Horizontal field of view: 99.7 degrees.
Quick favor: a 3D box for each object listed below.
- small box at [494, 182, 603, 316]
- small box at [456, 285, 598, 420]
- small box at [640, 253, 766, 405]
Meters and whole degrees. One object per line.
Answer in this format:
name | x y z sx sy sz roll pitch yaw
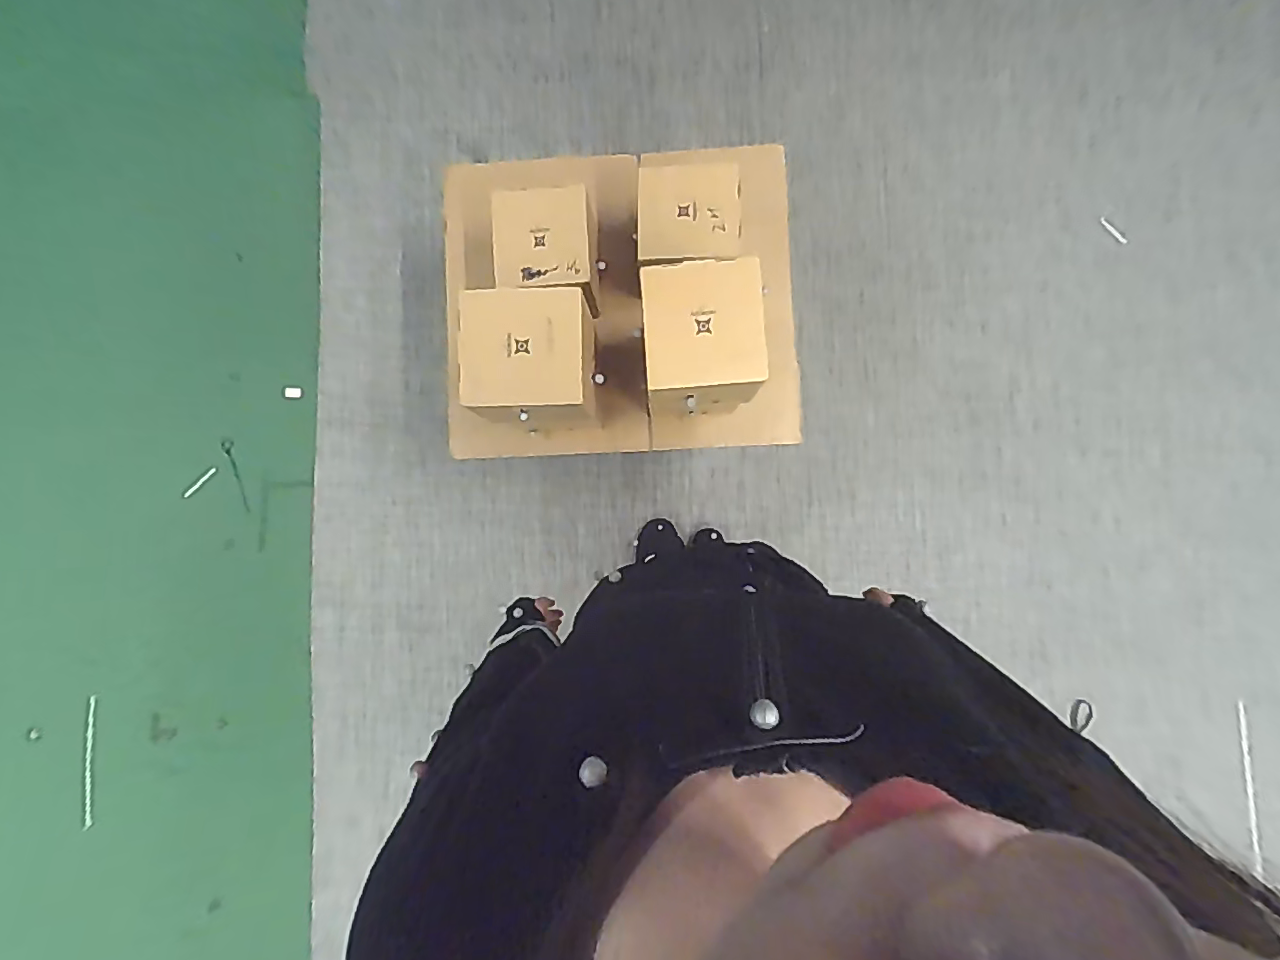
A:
small box | -0.163 -0.414 1.000 0.168 0.176 0.179 -4 85 4
small box | -0.163 -0.184 0.825 0.179 0.176 0.168 0 88 2
small box | 0.091 -0.213 0.812 0.168 0.176 0.179 -4 86 4
